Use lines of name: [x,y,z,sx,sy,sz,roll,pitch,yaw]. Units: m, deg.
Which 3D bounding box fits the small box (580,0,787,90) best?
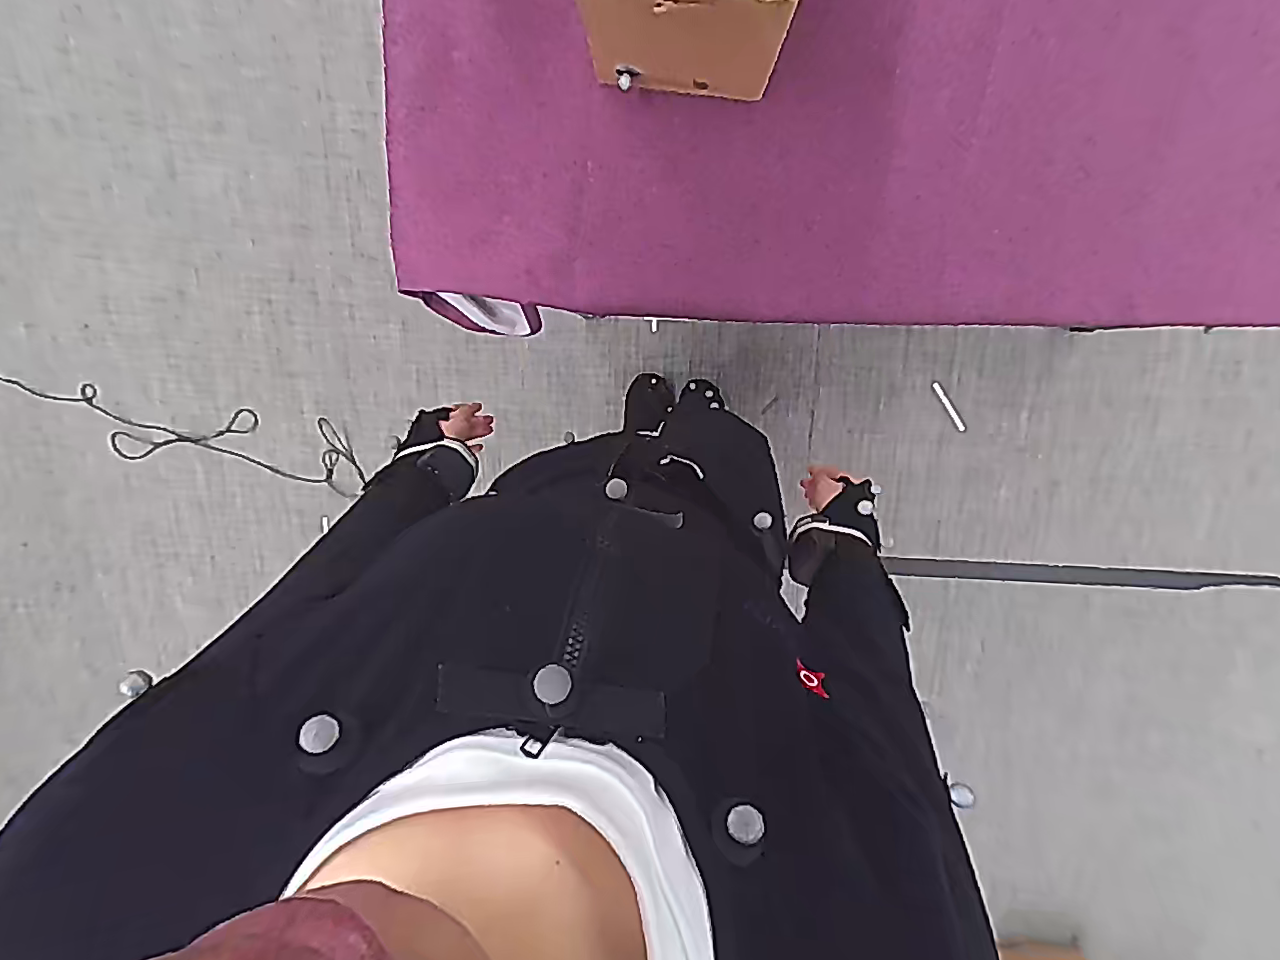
small box: [0.044,-0.454,0.437,0.168,0.176,0.179,7,103,1]
